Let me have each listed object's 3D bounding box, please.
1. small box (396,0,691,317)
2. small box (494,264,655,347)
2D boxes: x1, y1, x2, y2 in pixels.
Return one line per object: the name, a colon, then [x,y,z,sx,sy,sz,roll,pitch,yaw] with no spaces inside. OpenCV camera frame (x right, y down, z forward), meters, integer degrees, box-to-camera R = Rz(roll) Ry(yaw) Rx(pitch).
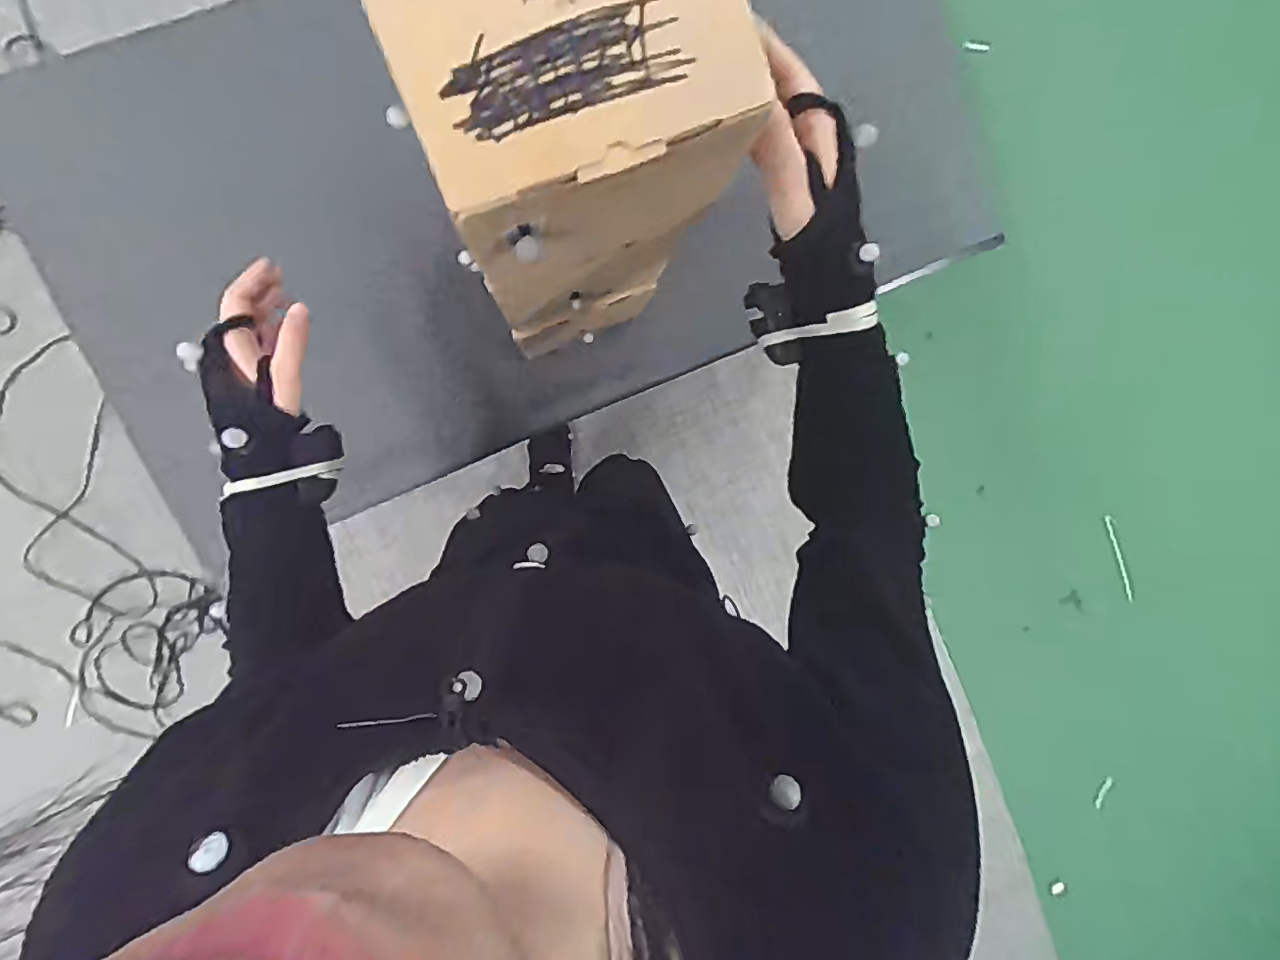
small box: [-0.077,-0.264,0.470,0.168,0.176,0.179,-23,99,-5]
small box: [-0.099,-0.273,0.632,0.168,0.176,0.179,-23,99,-4]
